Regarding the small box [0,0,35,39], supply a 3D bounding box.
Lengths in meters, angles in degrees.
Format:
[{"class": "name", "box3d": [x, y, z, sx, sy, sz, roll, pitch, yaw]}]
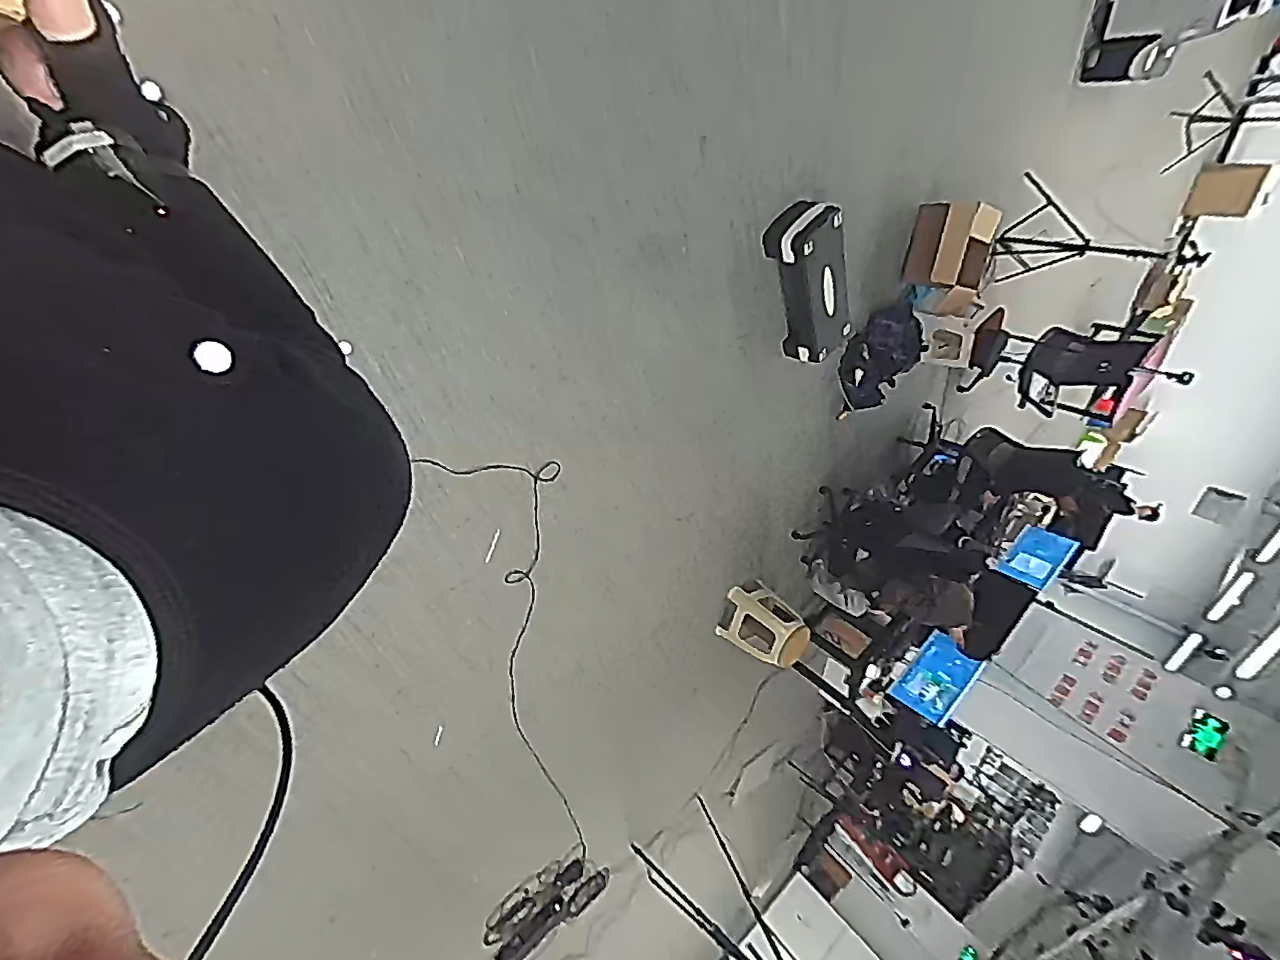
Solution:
[{"class": "small box", "box3d": [-0.434, -0.339, 0.248, 0.179, 0.176, 0.168, -15, 125, -49]}]
